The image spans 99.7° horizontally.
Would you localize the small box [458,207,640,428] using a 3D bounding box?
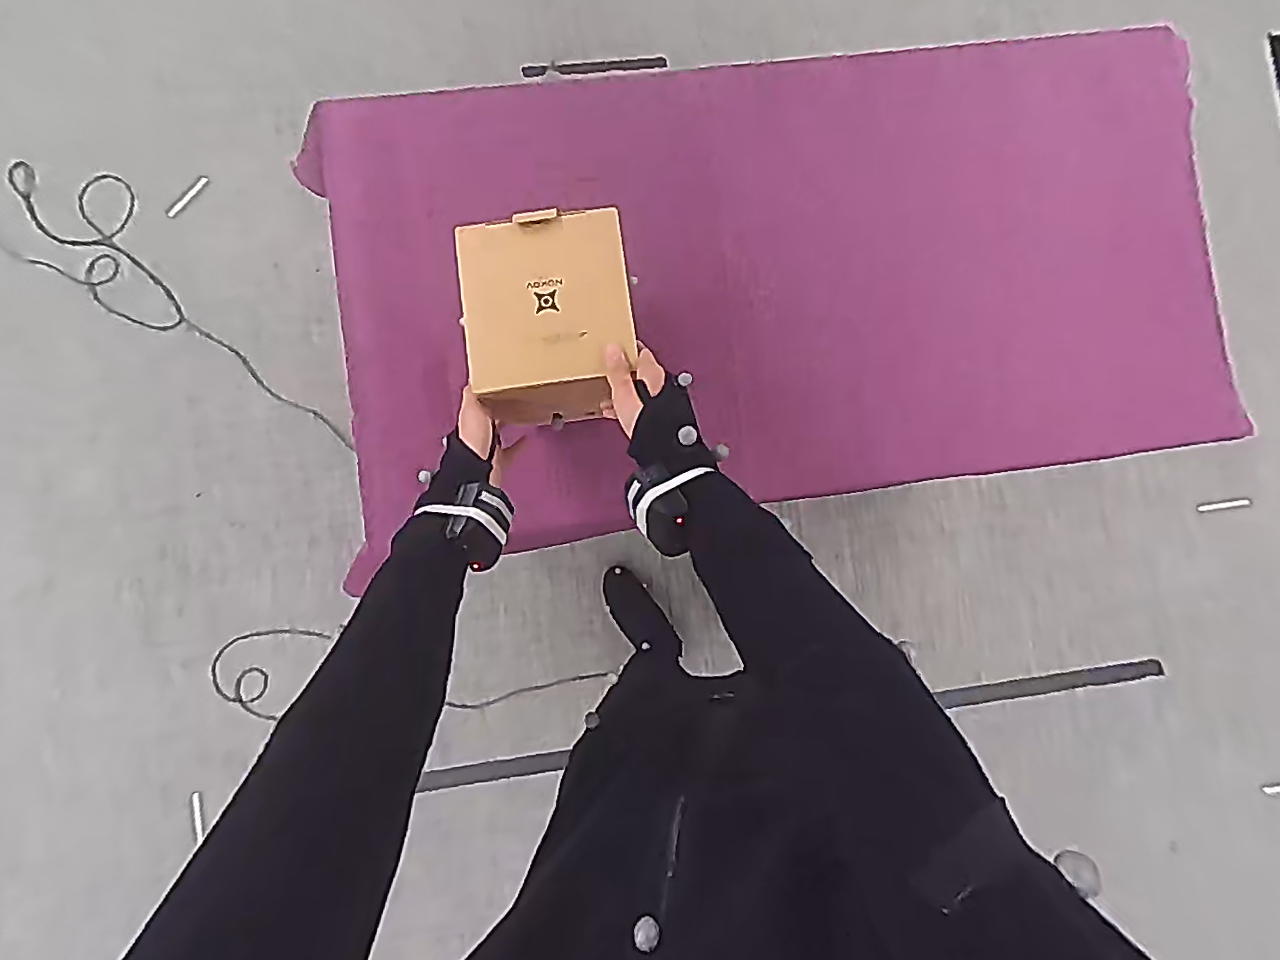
[{"bbox_3d":[-0.092,-0.168,0.603,0.168,0.176,0.179,-7,83,-1],"label":"small box"}]
